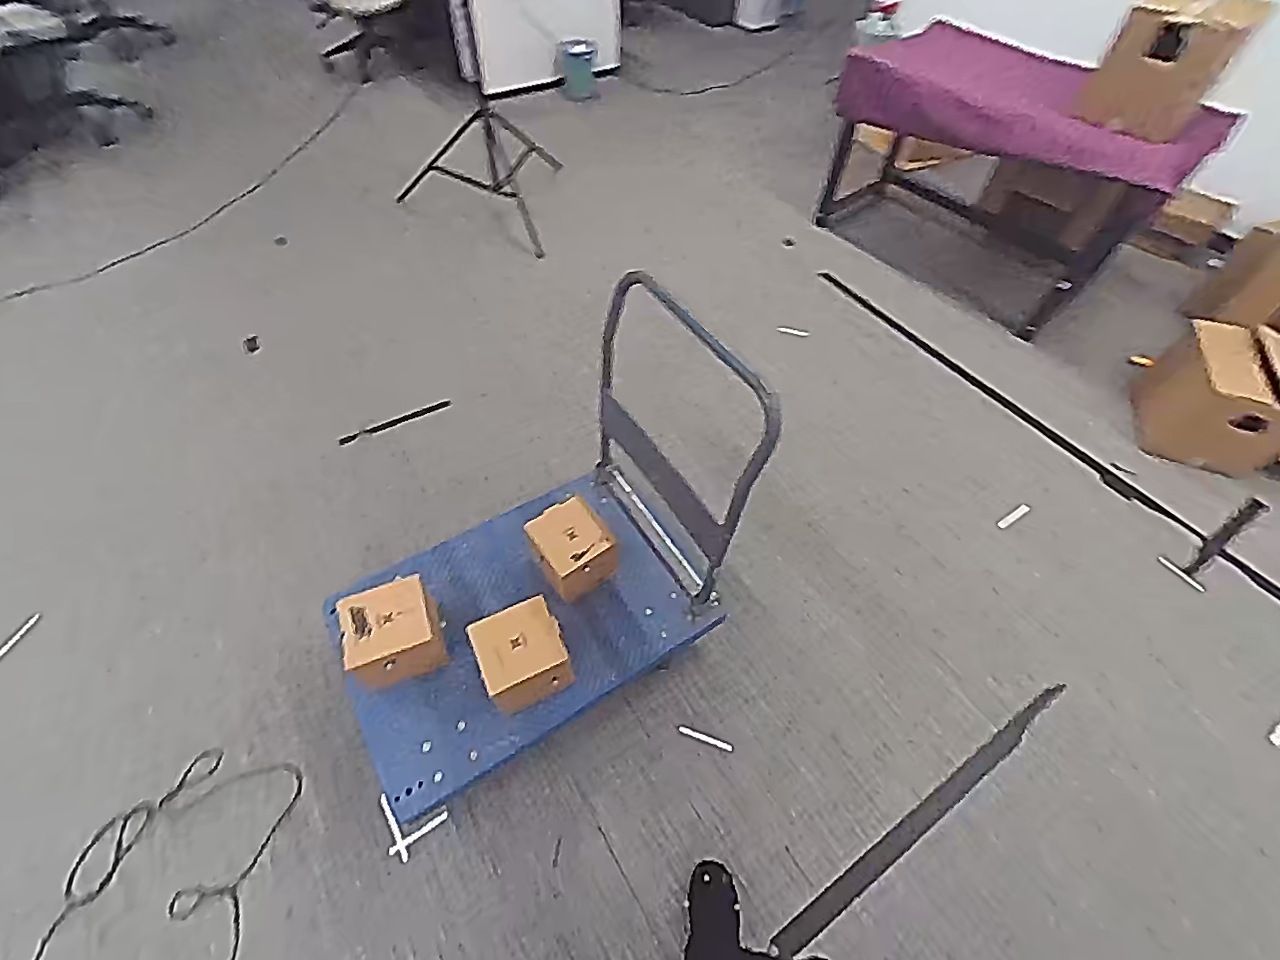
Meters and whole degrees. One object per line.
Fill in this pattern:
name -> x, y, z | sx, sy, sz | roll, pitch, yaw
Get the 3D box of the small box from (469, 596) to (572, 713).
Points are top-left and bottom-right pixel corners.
small box -> -0.261, 0.394, 1.218 | 0.179, 0.176, 0.168 | -22, 56, -16

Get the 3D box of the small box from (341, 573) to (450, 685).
small box -> -0.554, 0.345, 1.236 | 0.179, 0.176, 0.168 | -17, 57, -16

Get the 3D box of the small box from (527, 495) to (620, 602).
small box -> -0.167, 0.178, 1.379 | 0.168, 0.176, 0.179 | -30, 60, -22
